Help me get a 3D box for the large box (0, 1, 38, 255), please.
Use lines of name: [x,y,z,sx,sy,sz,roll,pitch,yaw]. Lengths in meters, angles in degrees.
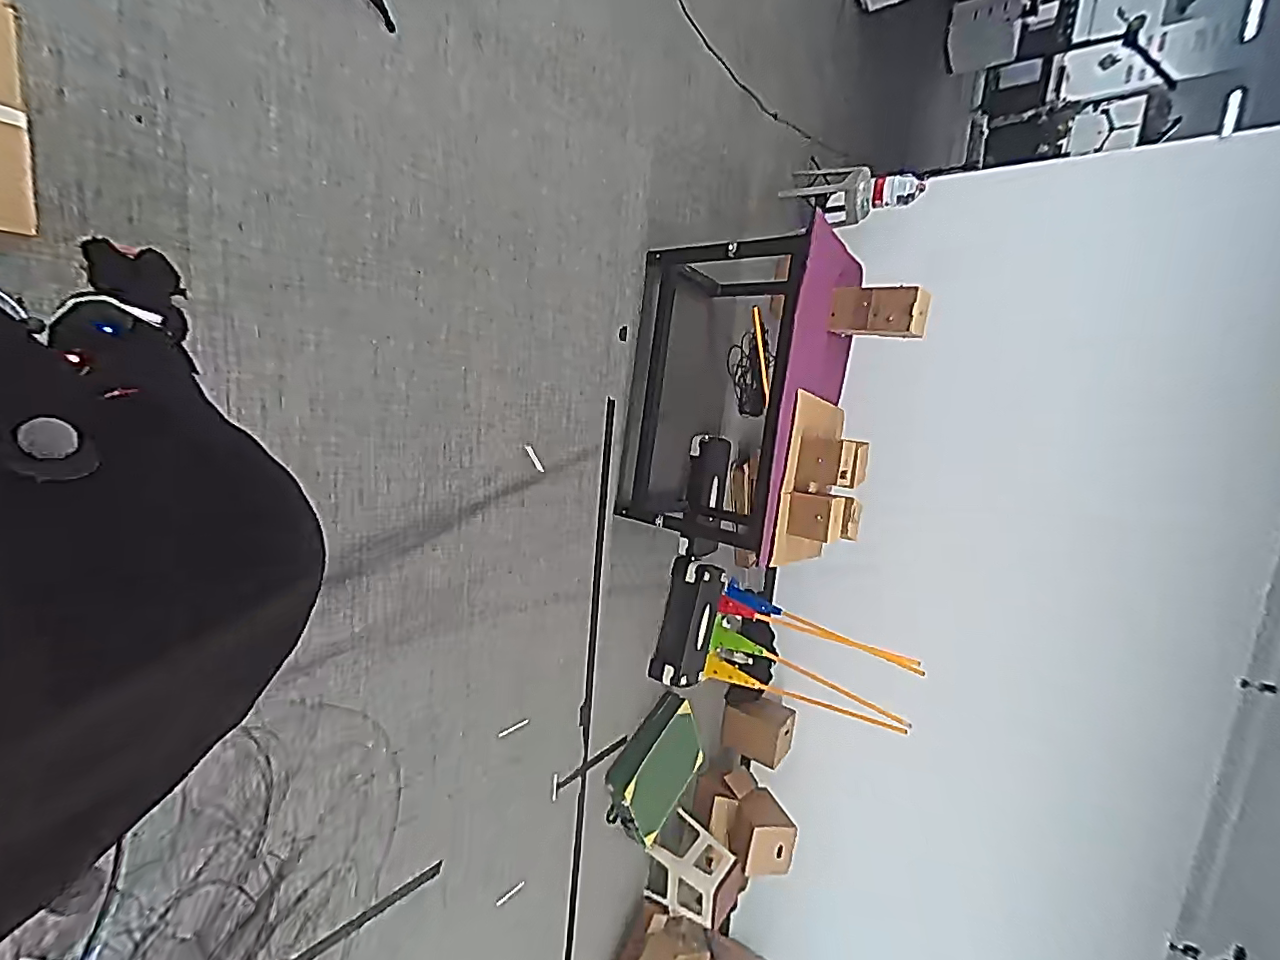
large box: [-1.118,-0.511,0.700,0.408,0.320,0.320,-8,106,-54]
